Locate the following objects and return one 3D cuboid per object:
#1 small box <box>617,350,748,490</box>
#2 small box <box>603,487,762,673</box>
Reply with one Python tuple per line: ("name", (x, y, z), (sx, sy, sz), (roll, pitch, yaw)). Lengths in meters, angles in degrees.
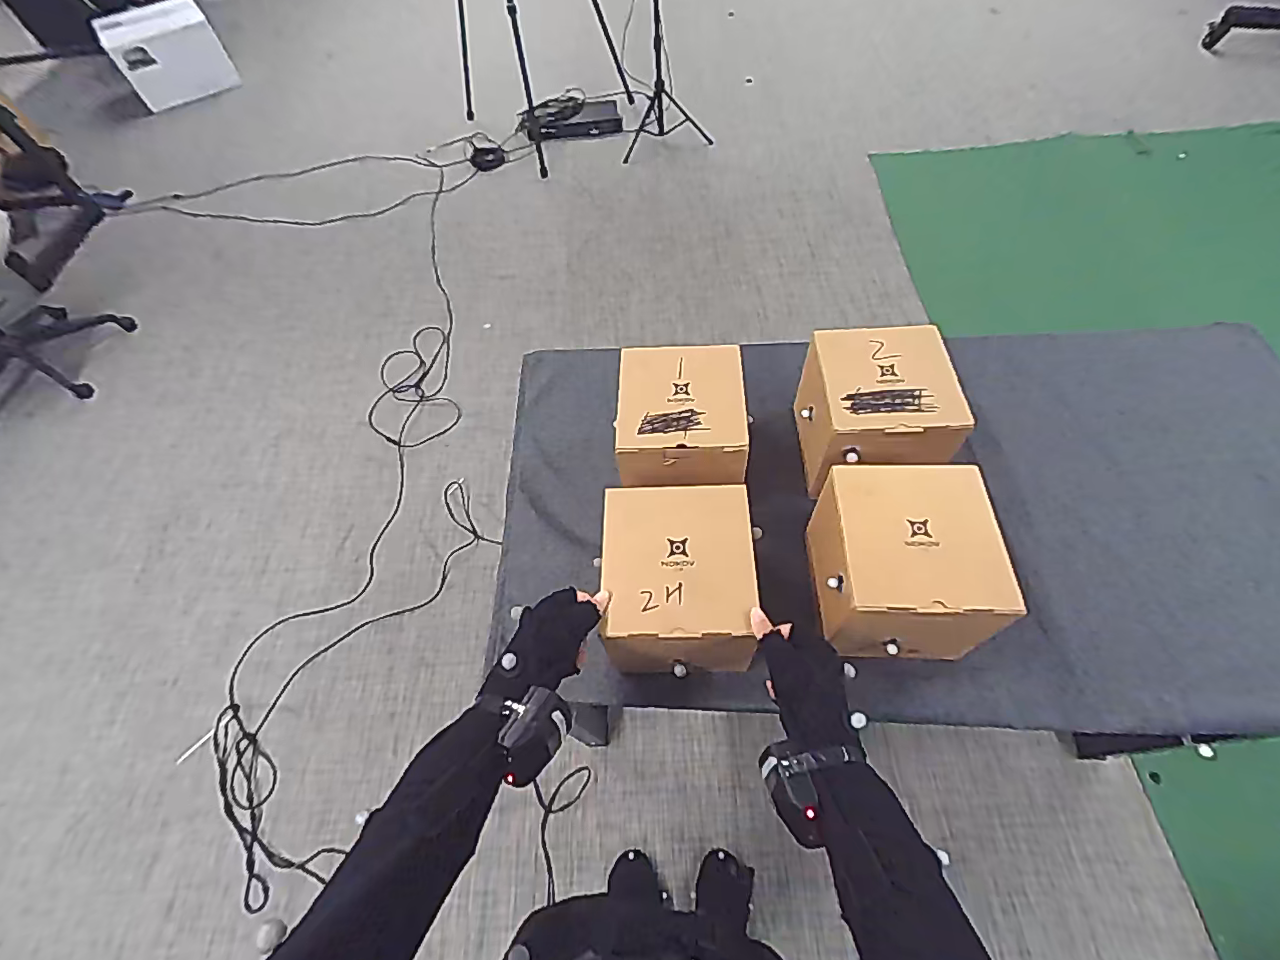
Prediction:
("small box", (0.063, -0.063, 0.777), (0.168, 0.176, 0.179), (0, 57, 4))
("small box", (0.049, 0.126, 0.658), (0.168, 0.176, 0.179), (-2, 59, 4))
